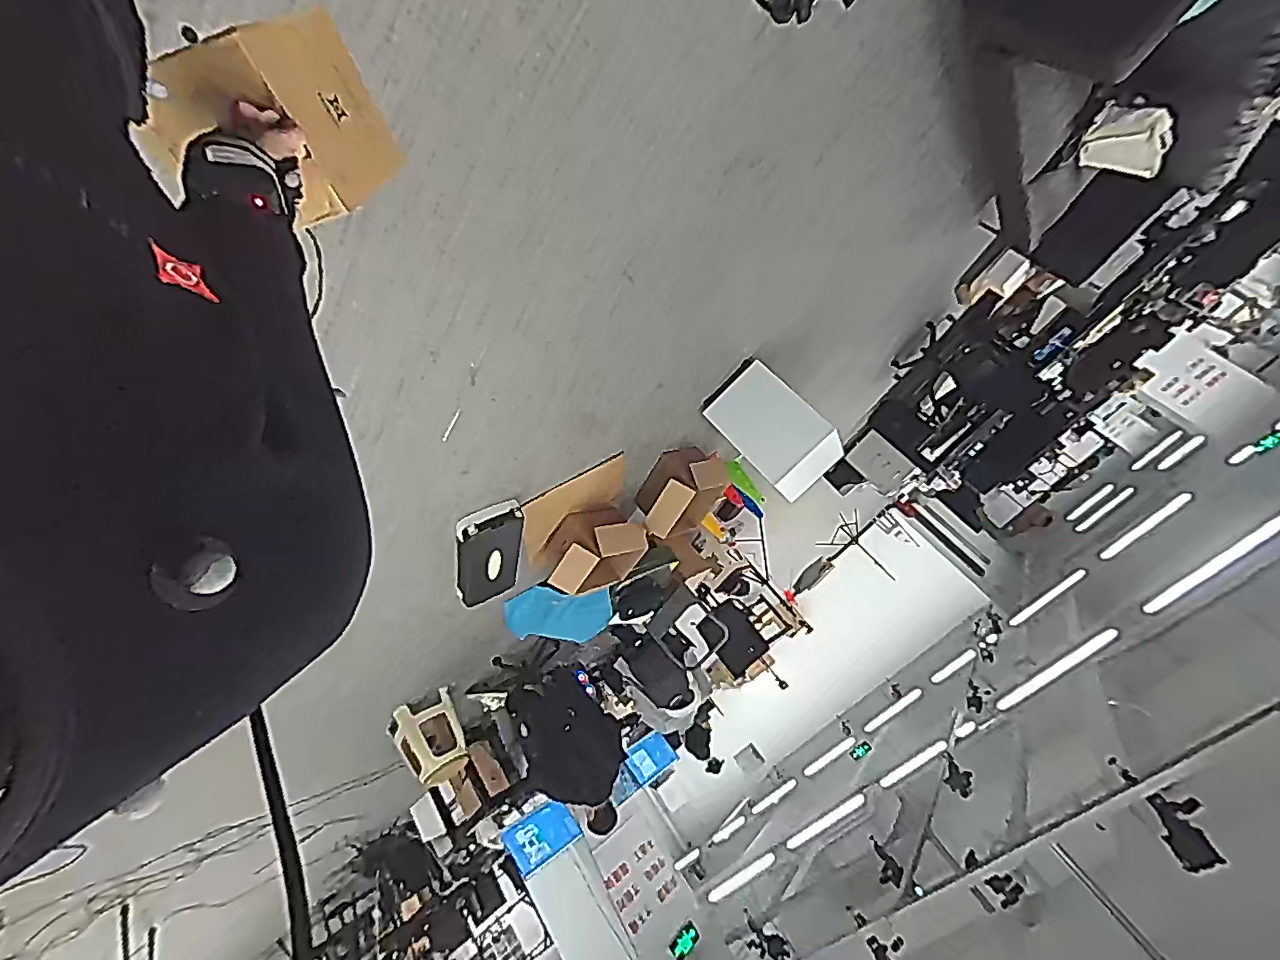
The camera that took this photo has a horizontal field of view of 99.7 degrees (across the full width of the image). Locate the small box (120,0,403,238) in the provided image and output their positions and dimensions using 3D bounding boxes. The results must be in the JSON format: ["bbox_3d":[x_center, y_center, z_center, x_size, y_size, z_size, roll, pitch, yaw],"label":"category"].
[{"bbox_3d":[-0.412,-0.399,0.608,0.176,0.179,0.168,-9,135,13],"label":"small box"}]
